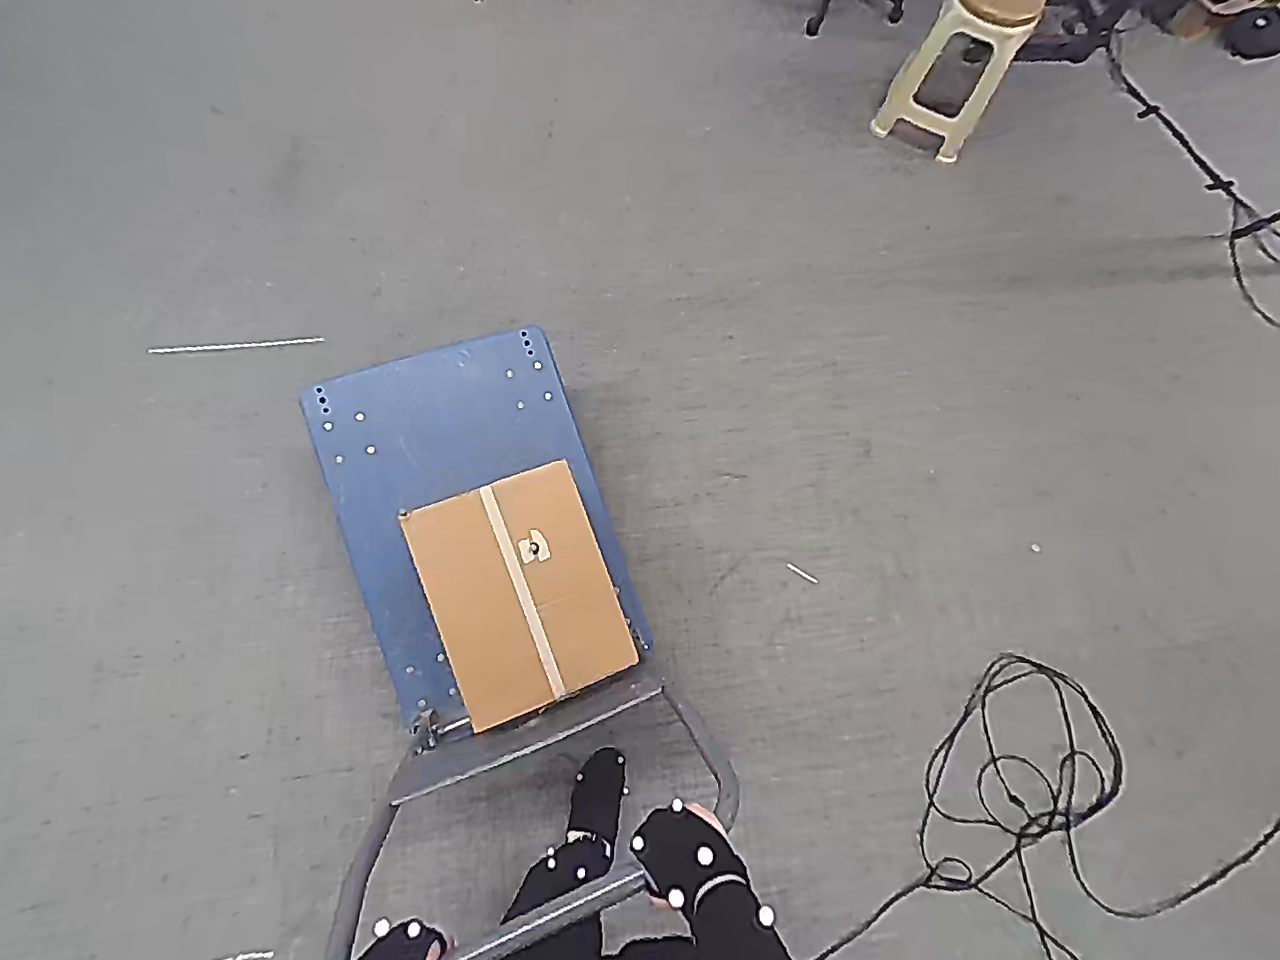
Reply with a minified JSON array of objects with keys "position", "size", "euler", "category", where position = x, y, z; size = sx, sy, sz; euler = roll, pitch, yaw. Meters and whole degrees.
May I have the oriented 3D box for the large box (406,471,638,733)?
[{"position":[-0.236,0.234,1.140],"size":[0.320,0.320,0.408],"euler":[-20,87,-12],"category":"large box"}]
